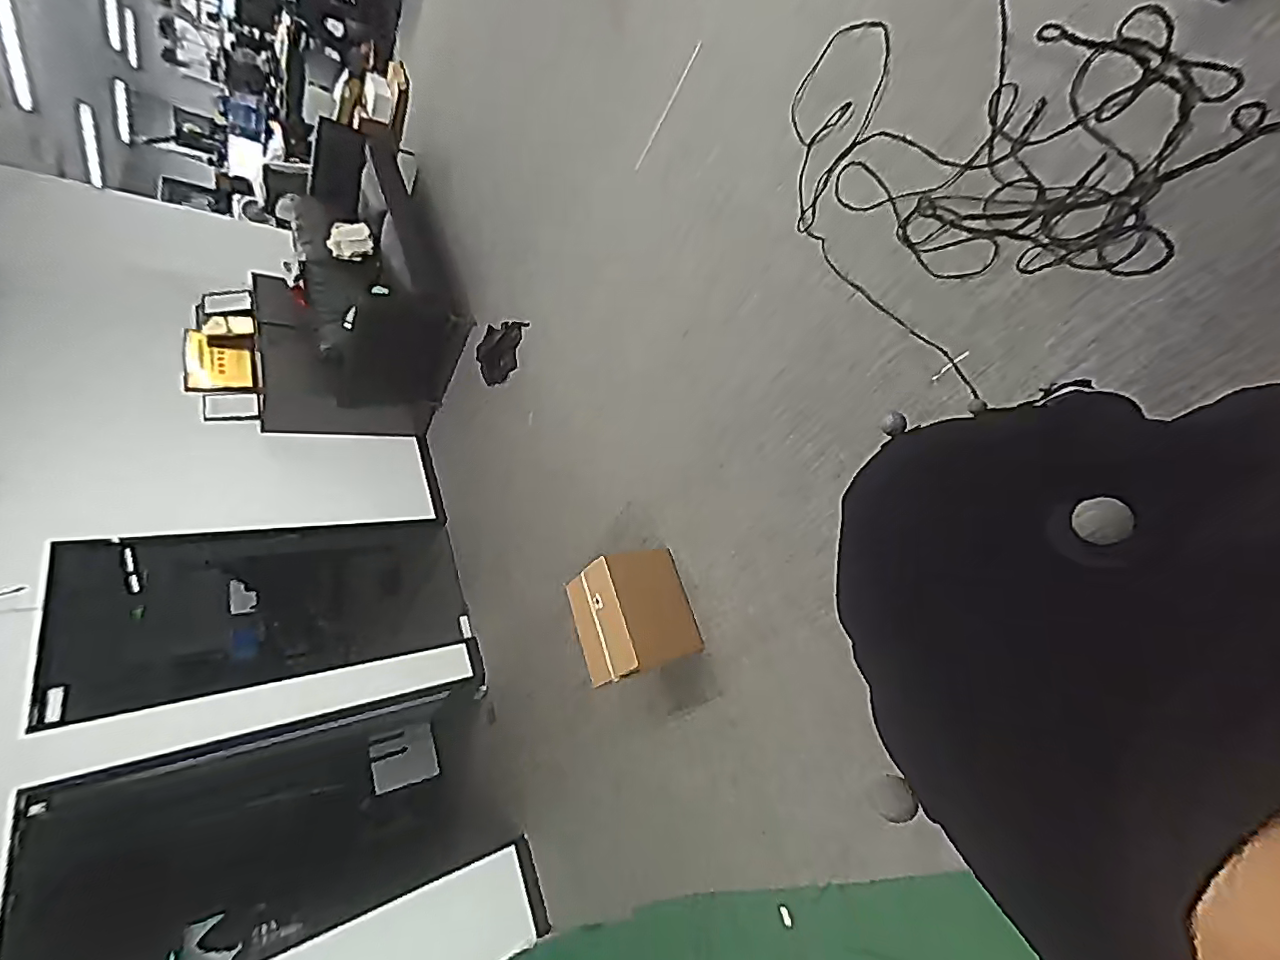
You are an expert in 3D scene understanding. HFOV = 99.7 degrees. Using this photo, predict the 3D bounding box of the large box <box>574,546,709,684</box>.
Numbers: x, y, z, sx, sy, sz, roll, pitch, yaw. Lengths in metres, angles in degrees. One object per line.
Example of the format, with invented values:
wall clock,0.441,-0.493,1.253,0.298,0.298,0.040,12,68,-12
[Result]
large box,-0.004,0.502,2.040,0.320,0.320,0.408,-43,57,43
